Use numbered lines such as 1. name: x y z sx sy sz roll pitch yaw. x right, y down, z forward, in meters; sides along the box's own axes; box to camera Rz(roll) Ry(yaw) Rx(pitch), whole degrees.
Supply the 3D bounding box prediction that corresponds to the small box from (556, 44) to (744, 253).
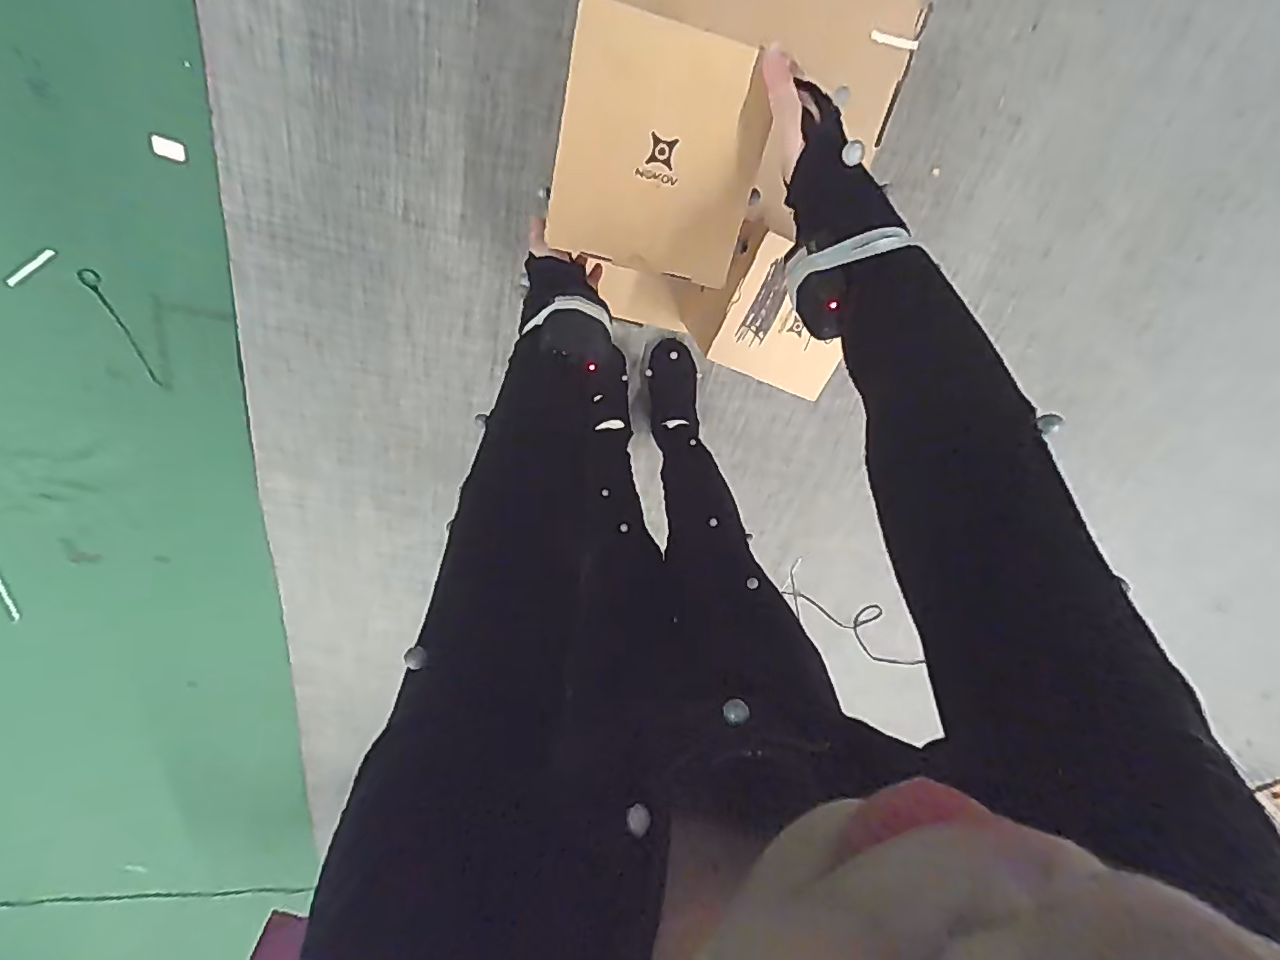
1. small box: 0.001 -0.387 0.650 0.179 0.176 0.168 8 119 -9
